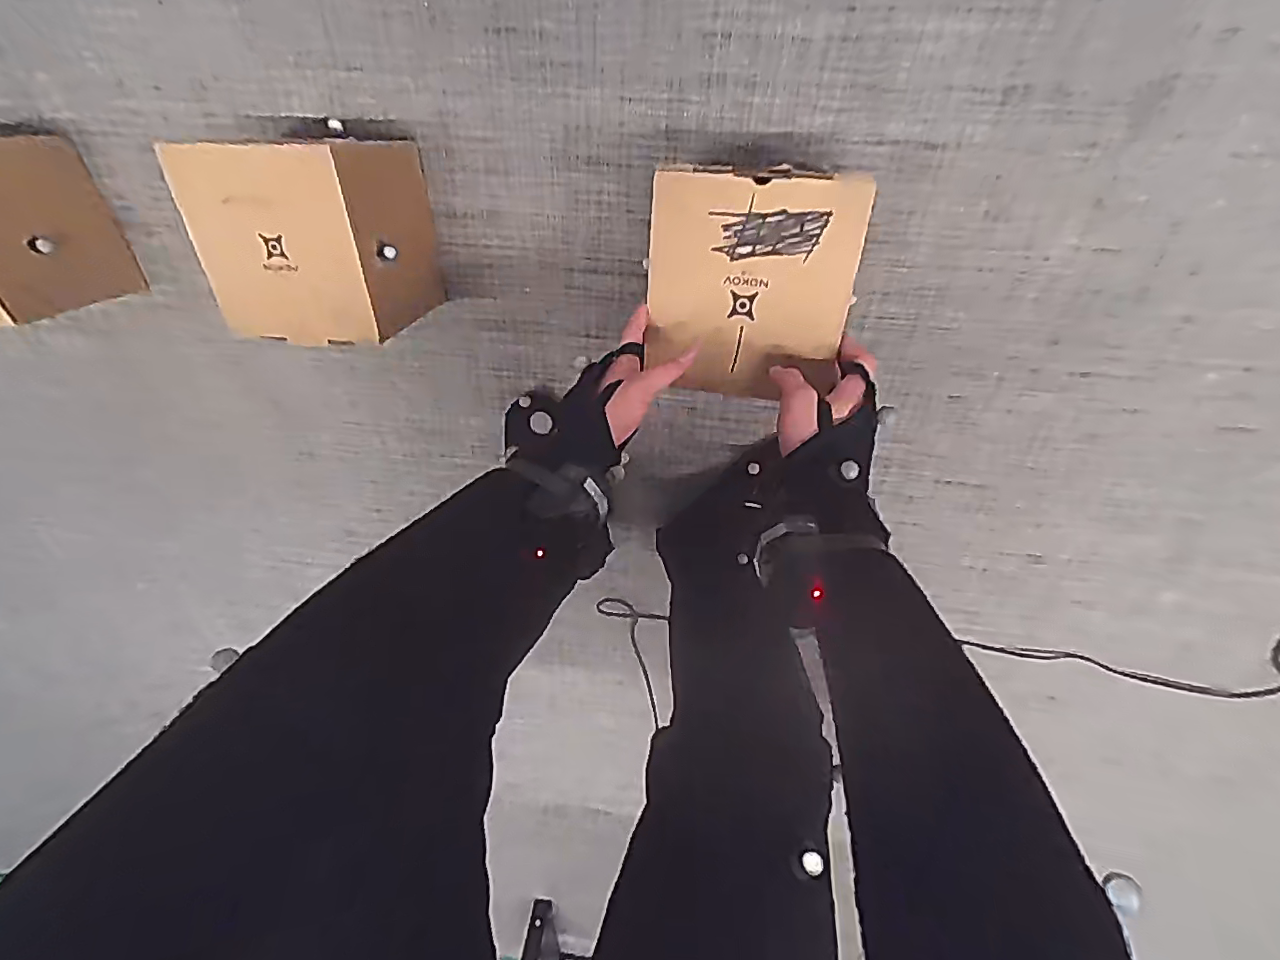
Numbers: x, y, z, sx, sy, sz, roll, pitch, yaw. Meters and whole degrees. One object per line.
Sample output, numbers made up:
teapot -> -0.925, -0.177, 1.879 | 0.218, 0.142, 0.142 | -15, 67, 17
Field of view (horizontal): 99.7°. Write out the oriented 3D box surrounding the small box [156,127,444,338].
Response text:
small box -> -0.328, -0.266, 0.571 | 0.168, 0.176, 0.179 | 3, 124, 5

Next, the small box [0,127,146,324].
small box -> -0.741, -0.291, 0.618 | 0.168, 0.176, 0.179 | 1, 125, 8

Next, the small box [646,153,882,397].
small box -> 0.106, -0.197, 0.502 | 0.168, 0.176, 0.179 | 9, 121, 11
